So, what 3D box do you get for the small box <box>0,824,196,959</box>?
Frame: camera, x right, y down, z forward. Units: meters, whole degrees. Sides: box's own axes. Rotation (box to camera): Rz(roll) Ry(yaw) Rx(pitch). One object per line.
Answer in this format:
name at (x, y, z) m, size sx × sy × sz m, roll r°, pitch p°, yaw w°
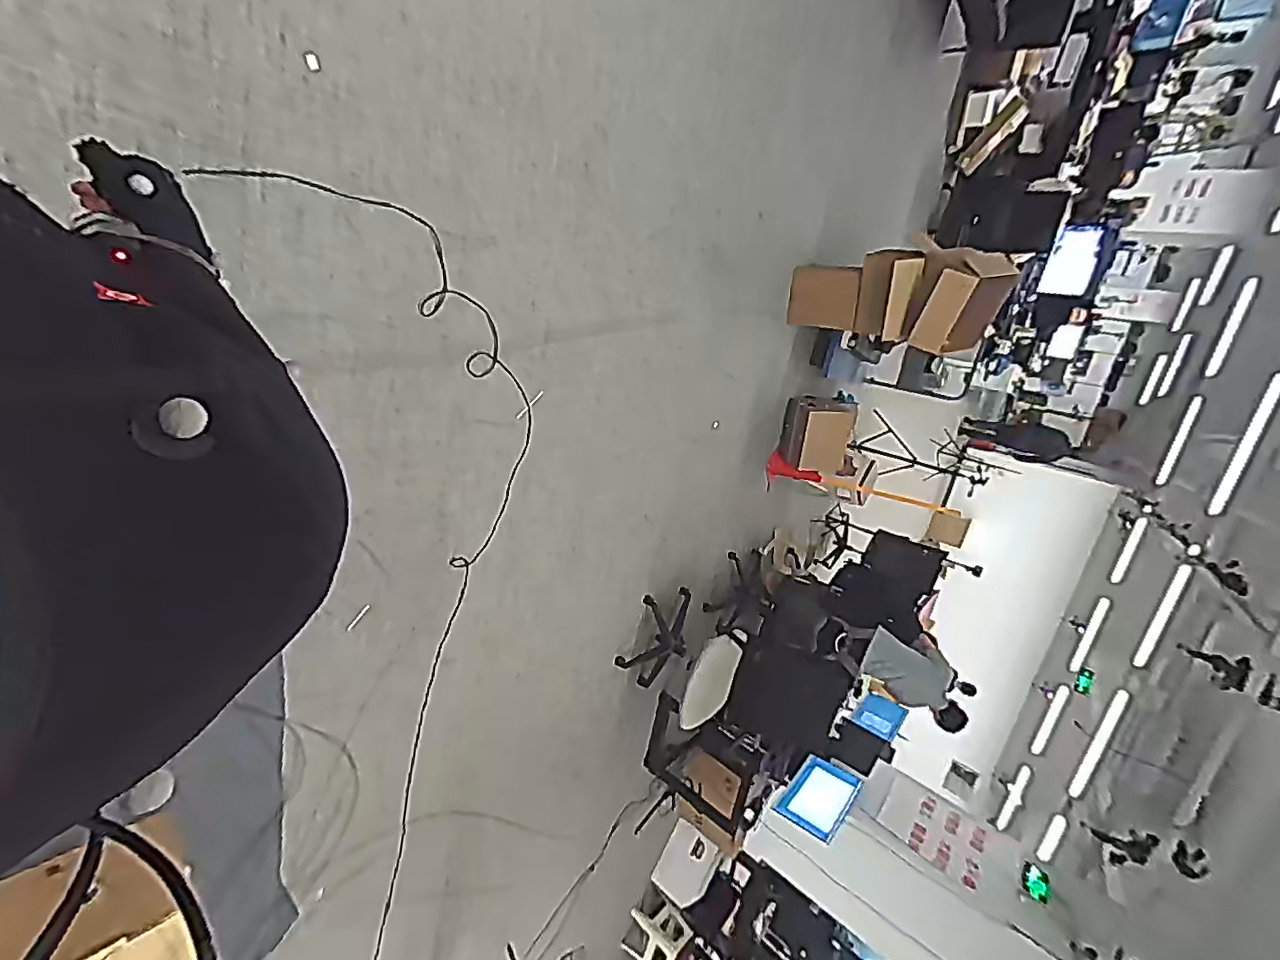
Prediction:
small box at (-0.653, 0.553, 0.640) m, size 0.168 × 0.176 × 0.179 m, roll -10°, pitch 115°, yaw -50°
